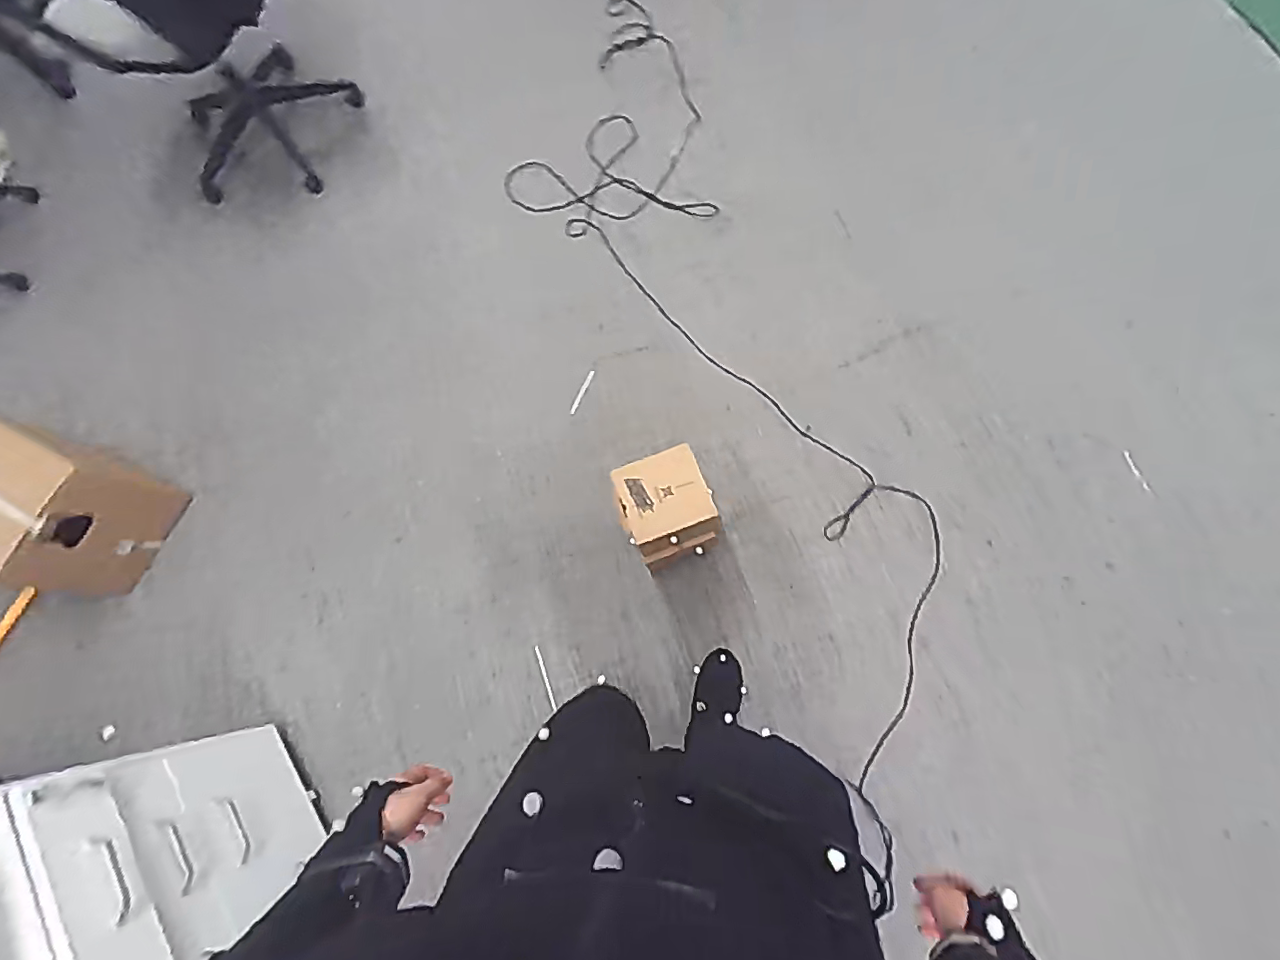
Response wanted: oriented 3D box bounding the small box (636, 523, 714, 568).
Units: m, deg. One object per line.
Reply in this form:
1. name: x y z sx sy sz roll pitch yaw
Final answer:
1. small box: 0.066 0.104 1.316 0.179 0.176 0.168 -22 74 0

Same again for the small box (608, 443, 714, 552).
1. small box: 0.048 0.046 1.163 0.179 0.176 0.168 -21 75 -1
